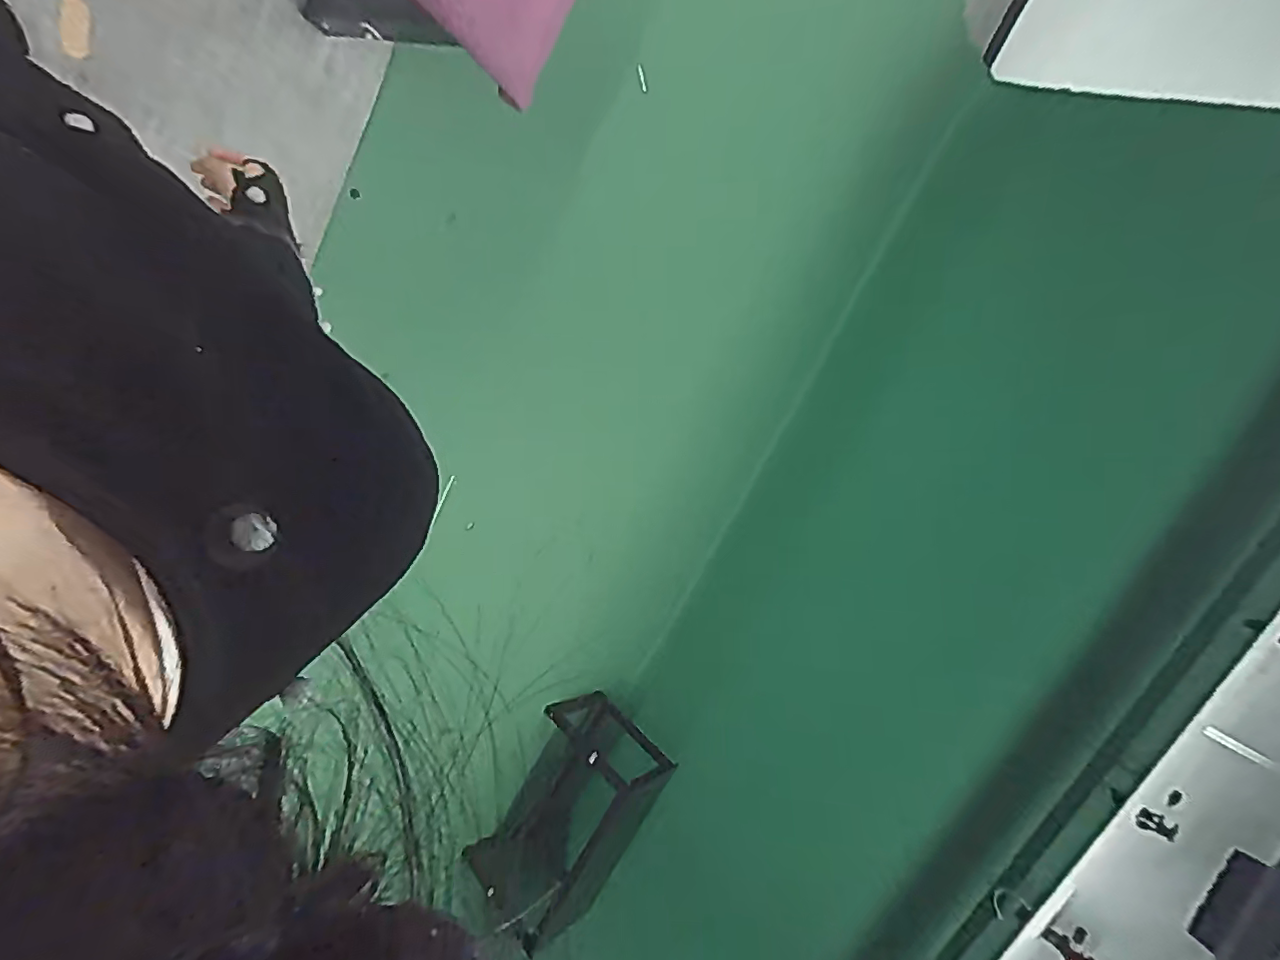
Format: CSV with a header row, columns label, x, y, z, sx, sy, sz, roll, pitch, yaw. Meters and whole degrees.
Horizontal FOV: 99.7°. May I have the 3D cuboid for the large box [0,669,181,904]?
label,x,y,z,sx,sy,sz,roll,pitch,yaw
large box,-1.446,0.749,1.347,0.408,0.320,0.320,-10,128,-52
